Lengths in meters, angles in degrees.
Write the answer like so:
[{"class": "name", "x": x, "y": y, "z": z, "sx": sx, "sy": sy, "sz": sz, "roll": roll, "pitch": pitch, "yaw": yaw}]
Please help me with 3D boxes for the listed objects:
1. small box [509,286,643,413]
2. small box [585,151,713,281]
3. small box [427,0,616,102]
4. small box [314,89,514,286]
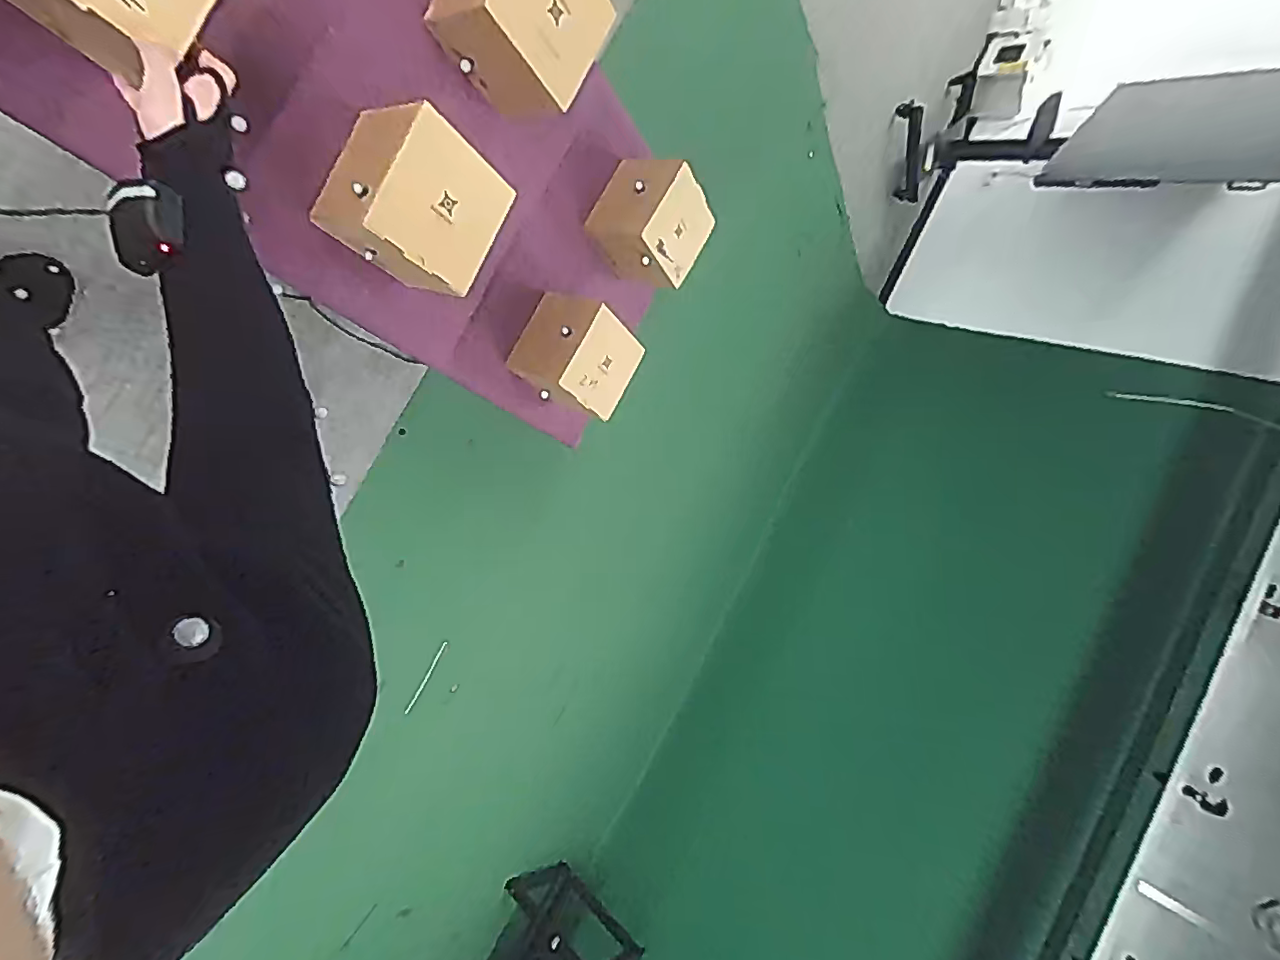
[{"class": "small box", "x": -0.131, "y": -0.264, "z": 1.086, "sx": 0.168, "sy": 0.176, "sz": 0.179, "roll": 35, "pitch": 82, "yaw": -54}, {"class": "small box", "x": 0.018, "y": -0.544, "z": 1.113, "sx": 0.179, "sy": 0.176, "sz": 0.168, "roll": -61, "pitch": 145, "yaw": -5}, {"class": "small box", "x": -0.172, "y": -0.687, "z": 0.778, "sx": 0.168, "sy": 0.176, "sz": 0.179, "roll": 31, "pitch": 87, "yaw": -54}, {"class": "small box", "x": -0.319, "y": -0.405, "z": 0.761, "sx": 0.168, "sy": 0.176, "sz": 0.179, "roll": 29, "pitch": 87, "yaw": -56}]
